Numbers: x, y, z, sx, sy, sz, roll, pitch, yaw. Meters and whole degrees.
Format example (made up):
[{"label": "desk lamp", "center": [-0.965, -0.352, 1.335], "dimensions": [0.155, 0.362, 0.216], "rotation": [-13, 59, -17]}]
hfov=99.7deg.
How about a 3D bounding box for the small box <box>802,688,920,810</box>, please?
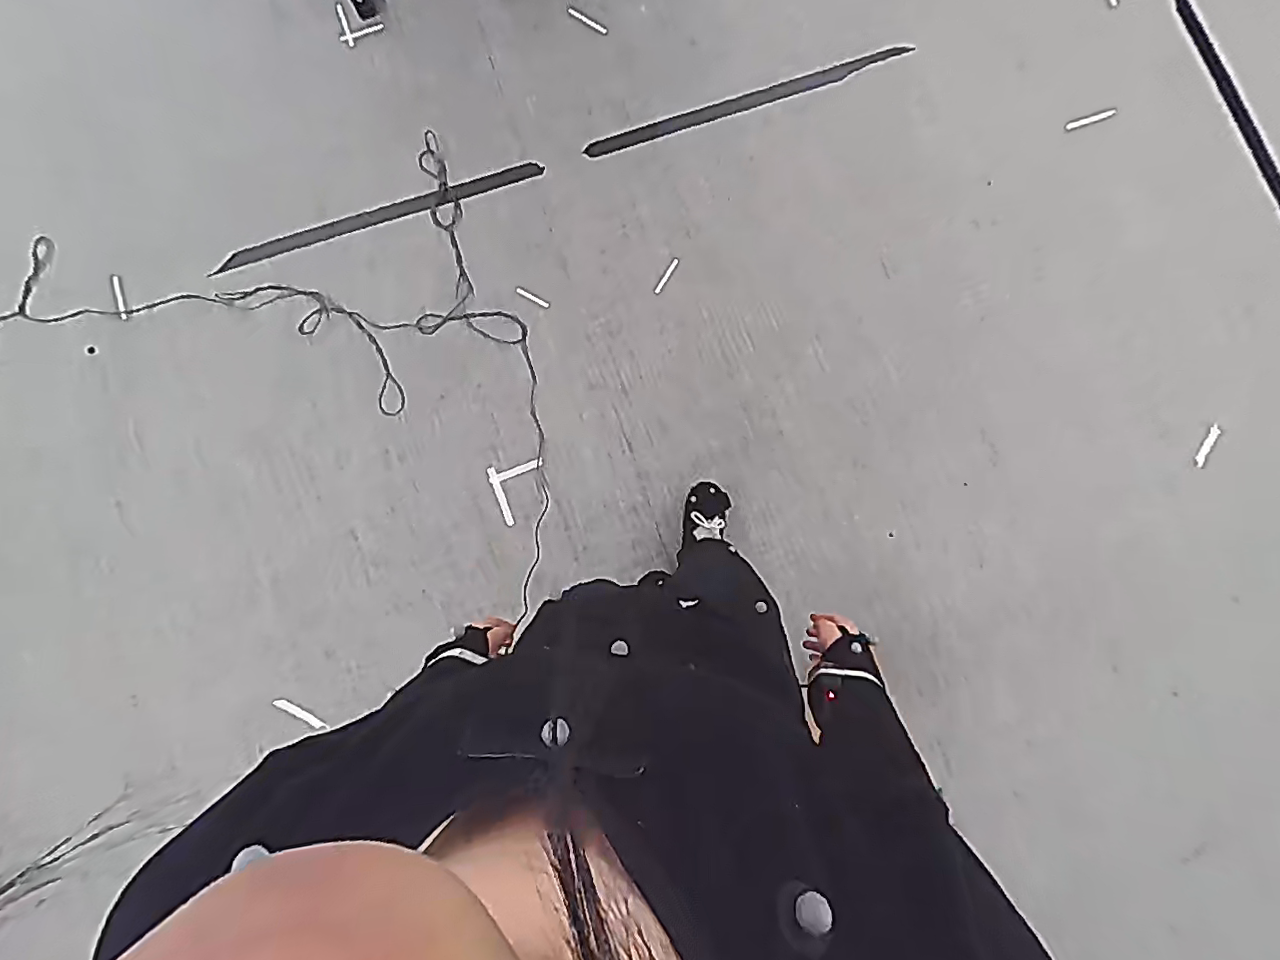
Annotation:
[{"label": "small box", "center": [0.477, 0.589, 1.205], "dimensions": [0.179, 0.176, 0.168], "rotation": [-18, 85, -2]}]
